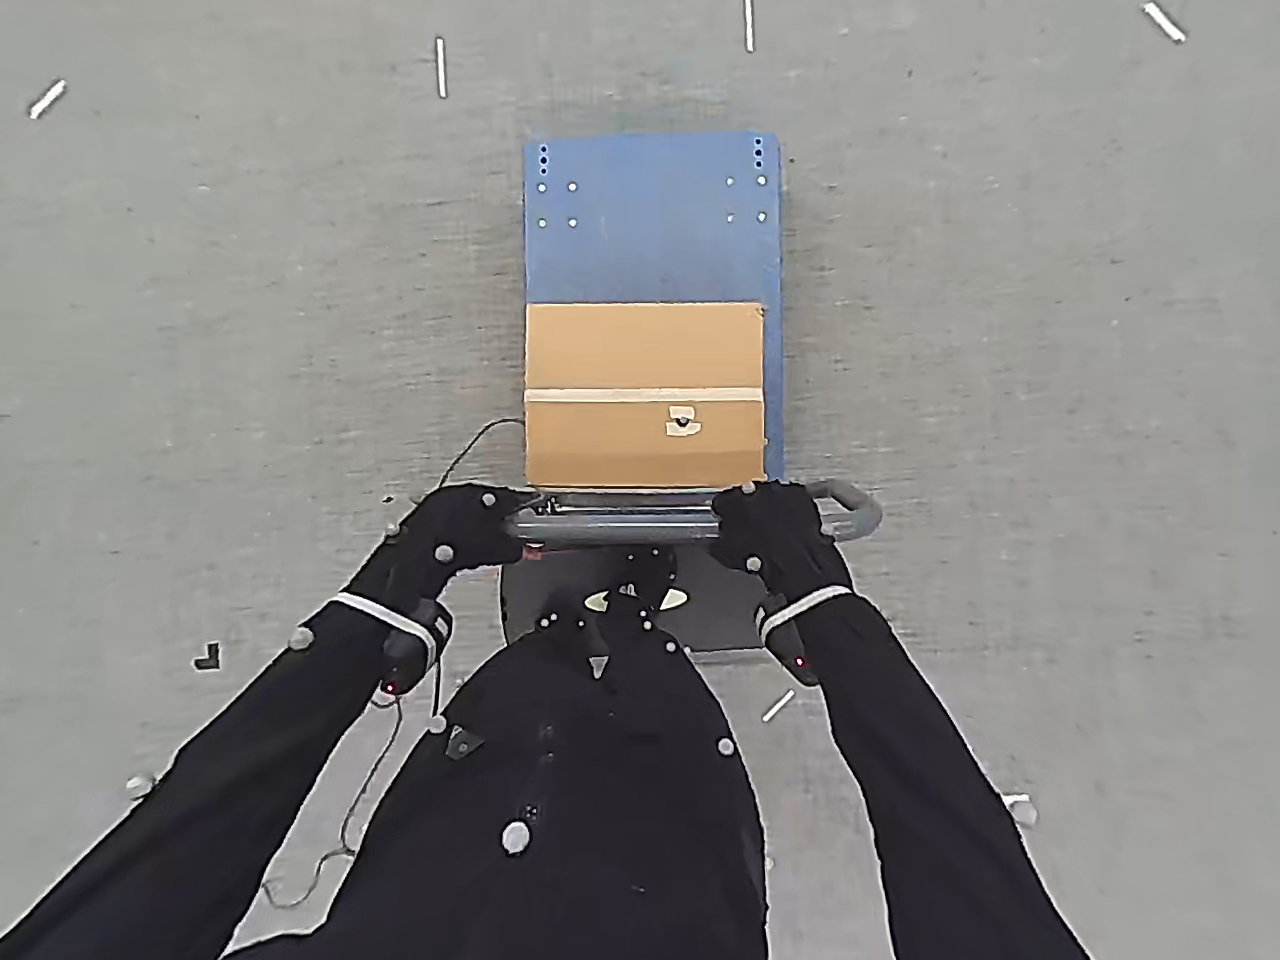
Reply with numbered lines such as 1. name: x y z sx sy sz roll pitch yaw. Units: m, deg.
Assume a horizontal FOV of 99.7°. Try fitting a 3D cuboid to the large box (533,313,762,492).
1. large box: 0.014 -0.135 1.089 0.408 0.320 0.320 0 91 1
